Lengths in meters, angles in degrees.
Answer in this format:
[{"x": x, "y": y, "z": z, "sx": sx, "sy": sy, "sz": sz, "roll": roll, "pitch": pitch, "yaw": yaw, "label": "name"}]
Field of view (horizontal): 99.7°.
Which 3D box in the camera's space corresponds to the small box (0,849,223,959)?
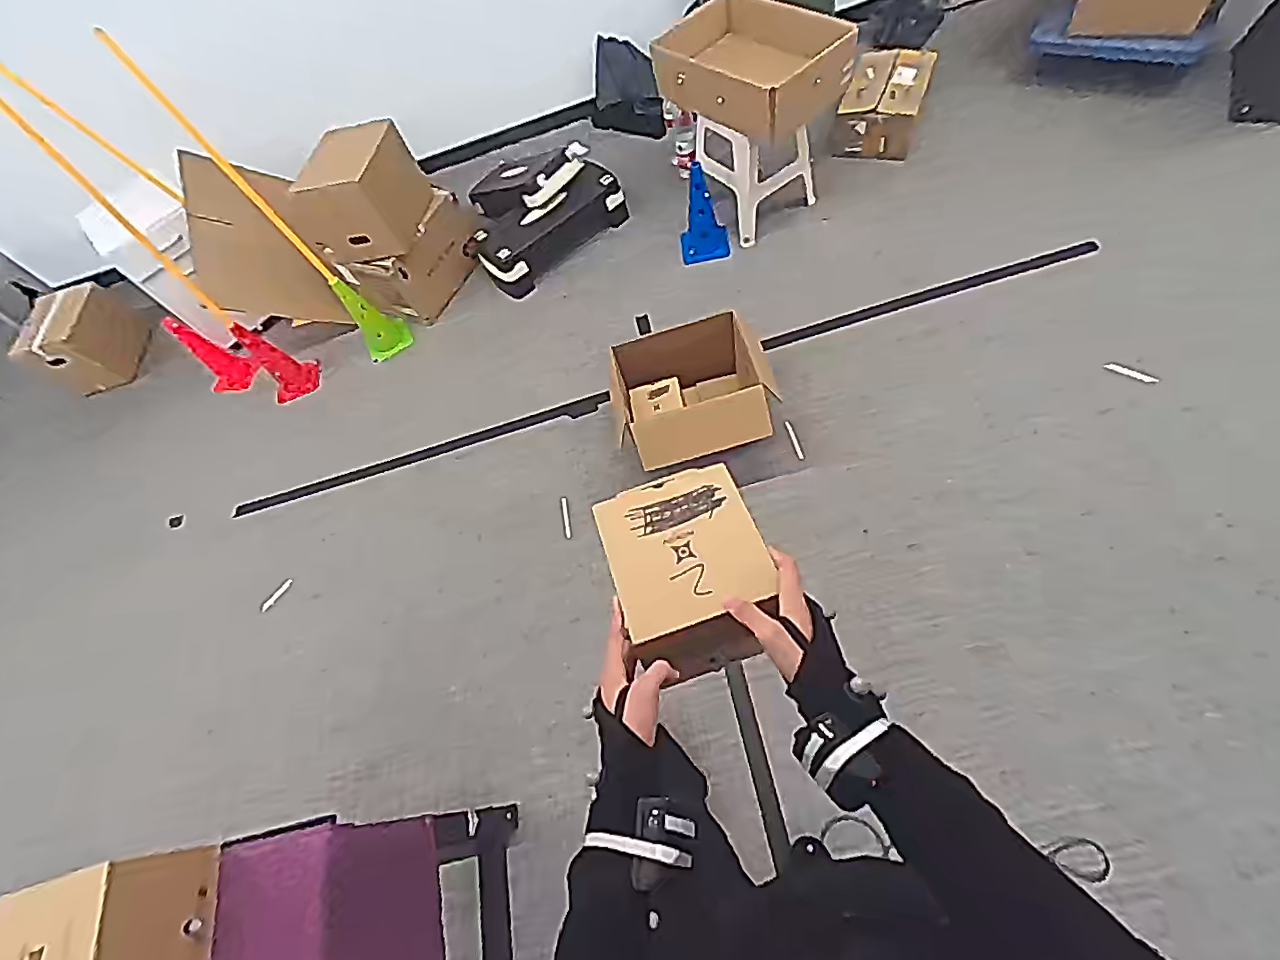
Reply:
[{"x": -0.716, "y": 0.623, "z": 0.725, "sx": 0.179, "sy": 0.176, "sz": 0.168, "roll": -20, "pitch": 61, "yaw": 3, "label": "small box"}]
